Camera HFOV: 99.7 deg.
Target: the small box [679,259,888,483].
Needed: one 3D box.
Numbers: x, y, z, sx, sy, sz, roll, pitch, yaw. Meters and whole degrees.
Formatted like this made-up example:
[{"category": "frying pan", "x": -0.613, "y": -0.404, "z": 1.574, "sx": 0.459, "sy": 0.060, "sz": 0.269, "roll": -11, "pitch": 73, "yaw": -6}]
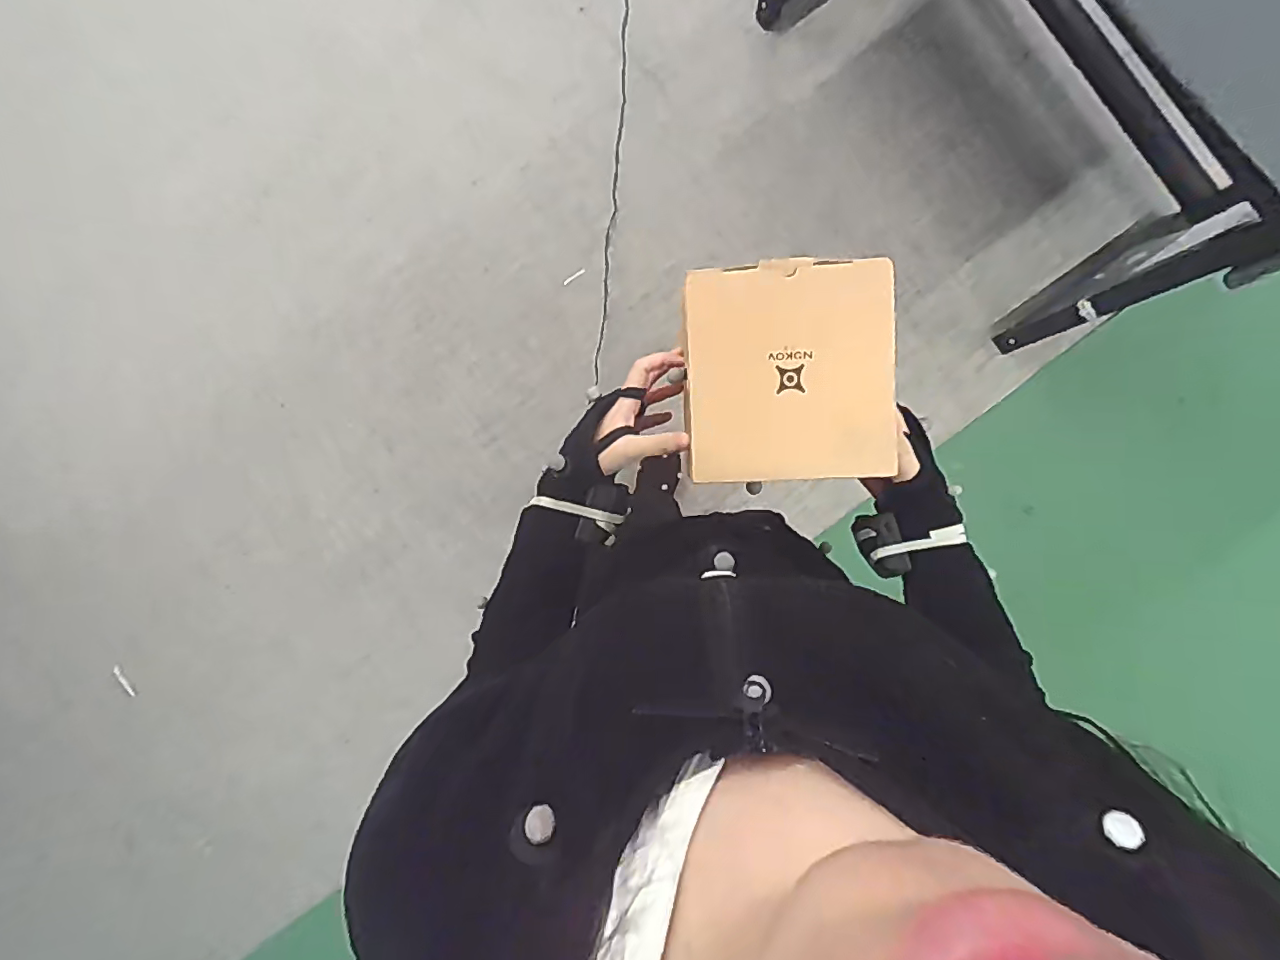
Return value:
[{"category": "small box", "x": 0.123, "y": -0.090, "z": 0.518, "sx": 0.168, "sy": 0.176, "sz": 0.179, "roll": -2, "pitch": 91, "yaw": 4}]
